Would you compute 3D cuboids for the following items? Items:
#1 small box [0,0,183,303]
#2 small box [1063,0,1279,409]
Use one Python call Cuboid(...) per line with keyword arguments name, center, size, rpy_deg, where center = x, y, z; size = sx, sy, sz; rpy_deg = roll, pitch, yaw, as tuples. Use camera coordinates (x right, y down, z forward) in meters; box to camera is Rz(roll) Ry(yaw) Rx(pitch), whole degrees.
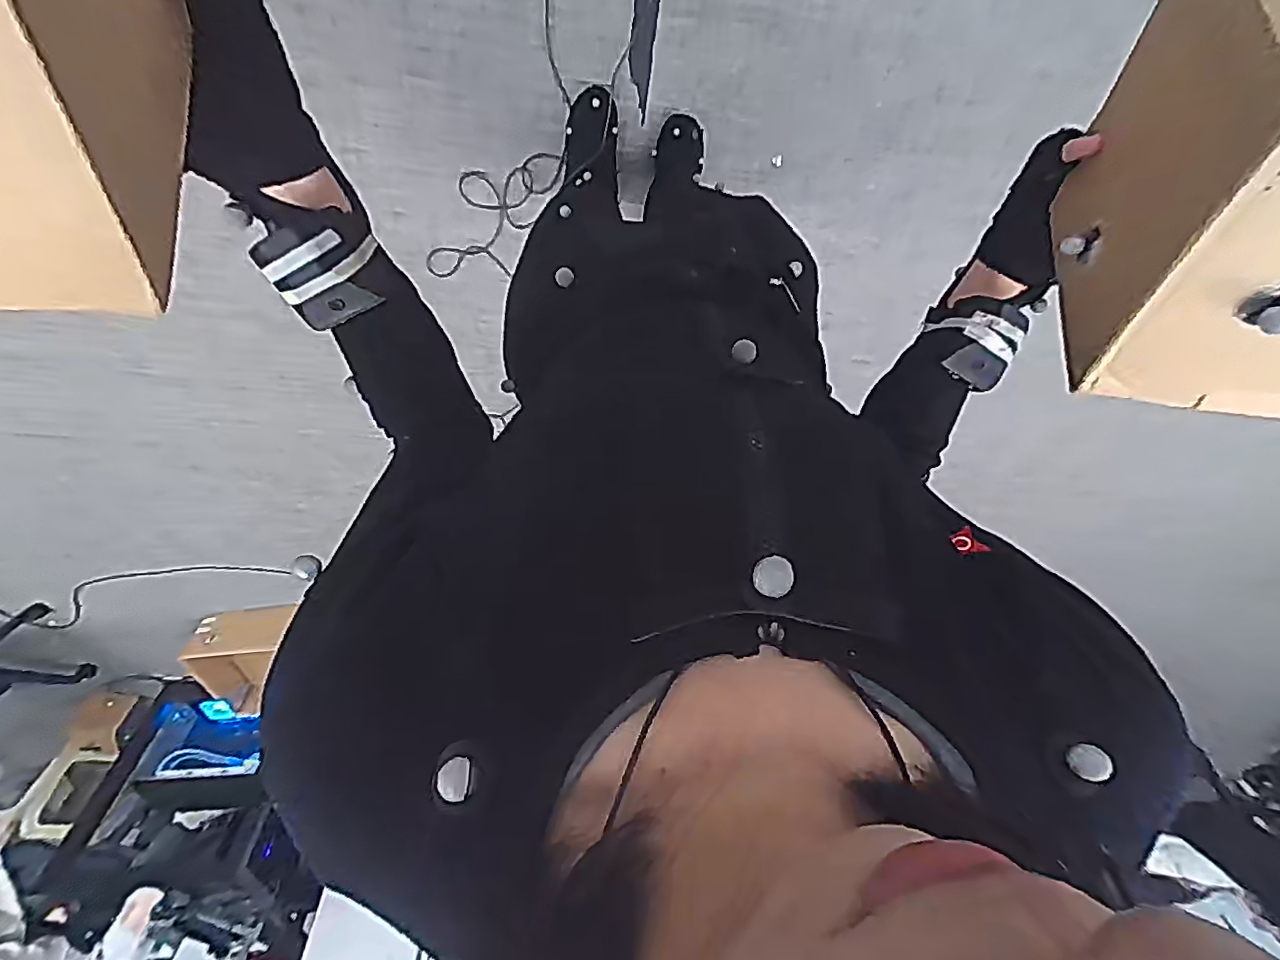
Cuboid(name="small box", center=(-0.233, -0.169, 0.118), size=(0.168, 0.179, 0.176), rpy_deg=(-3, 156, -27))
Cuboid(name="small box", center=(0.341, -0.151, 0.255), size=(0.168, 0.179, 0.176), rpy_deg=(10, 154, 16))
